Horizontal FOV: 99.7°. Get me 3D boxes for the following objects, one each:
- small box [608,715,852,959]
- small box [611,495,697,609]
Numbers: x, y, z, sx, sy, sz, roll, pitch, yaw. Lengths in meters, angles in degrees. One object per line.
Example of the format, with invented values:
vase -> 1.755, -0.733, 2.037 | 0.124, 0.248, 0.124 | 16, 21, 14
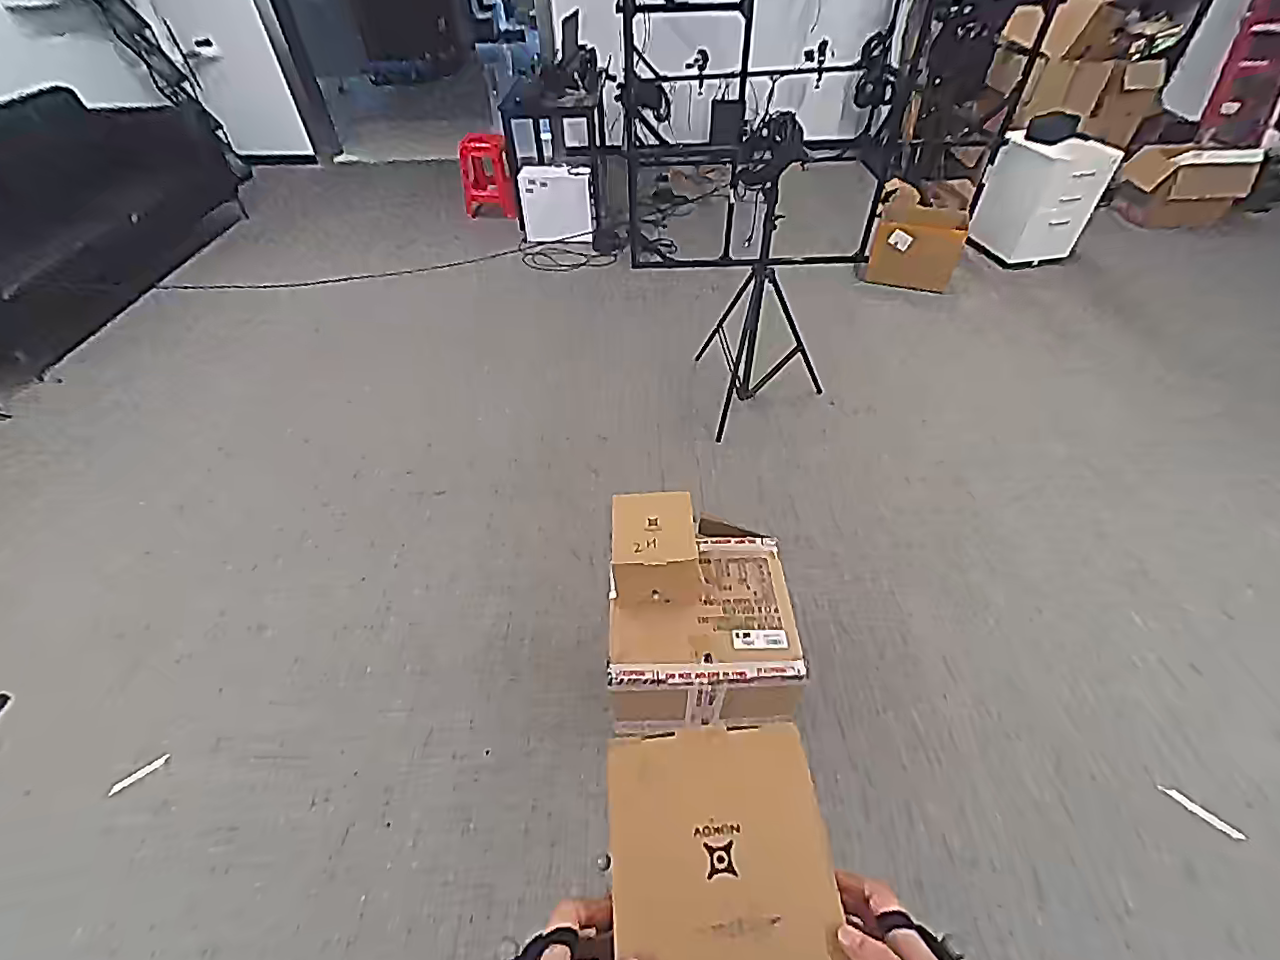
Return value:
small box -> 0.059, 0.326, 0.476 | 0.168, 0.176, 0.179 | -5, 53, -2
small box -> 0.028, 0.151, 1.133 | 0.168, 0.176, 0.179 | -3, 48, 1
